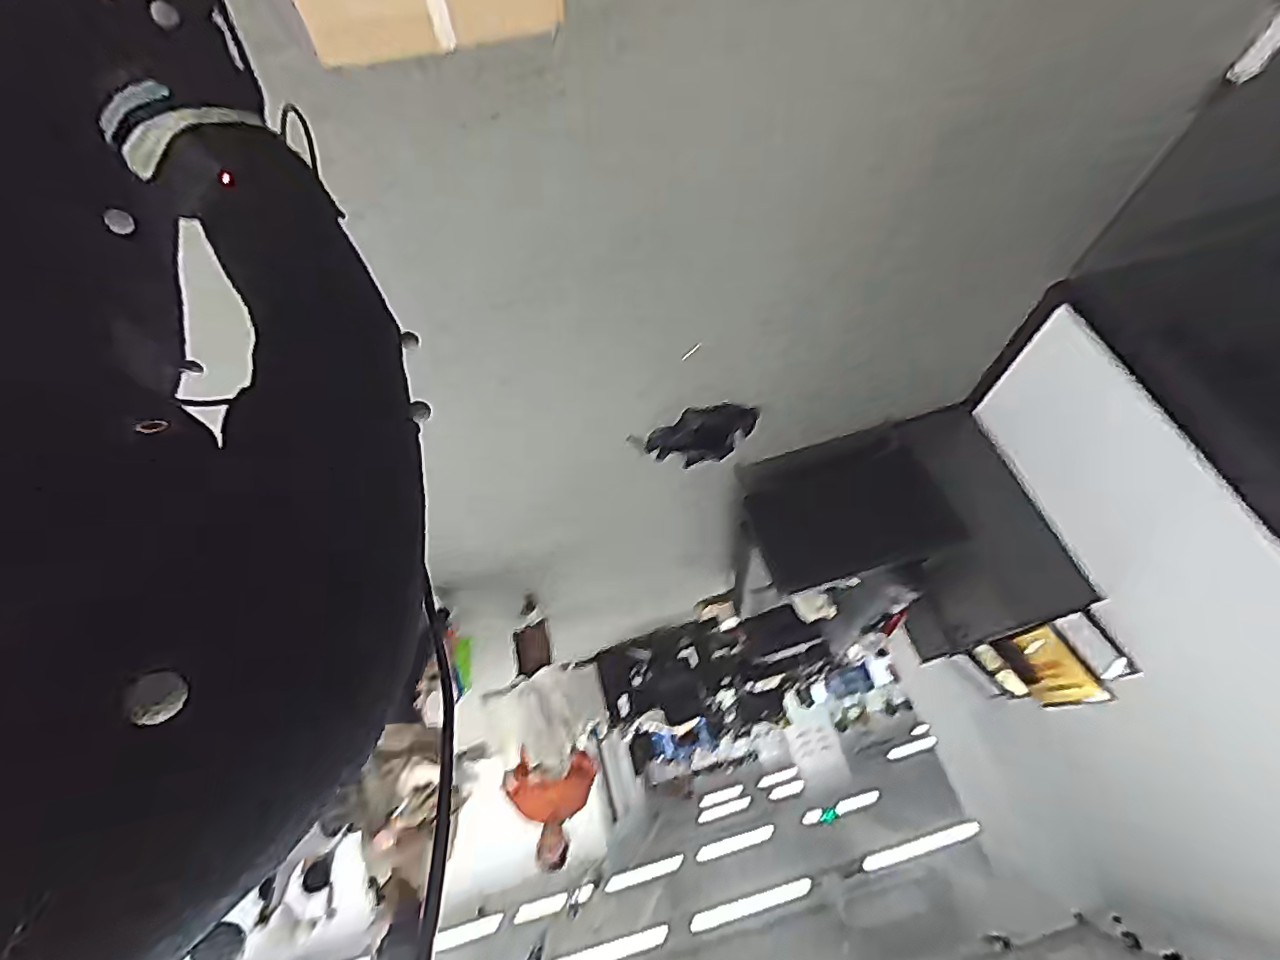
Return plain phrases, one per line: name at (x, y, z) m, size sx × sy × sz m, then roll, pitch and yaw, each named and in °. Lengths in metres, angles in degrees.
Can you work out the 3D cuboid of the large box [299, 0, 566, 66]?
large box at (-0.288, -0.773, 0.581) m, size 0.320 × 0.320 × 0.408 m, roll -14°, pitch 155°, yaw -8°
